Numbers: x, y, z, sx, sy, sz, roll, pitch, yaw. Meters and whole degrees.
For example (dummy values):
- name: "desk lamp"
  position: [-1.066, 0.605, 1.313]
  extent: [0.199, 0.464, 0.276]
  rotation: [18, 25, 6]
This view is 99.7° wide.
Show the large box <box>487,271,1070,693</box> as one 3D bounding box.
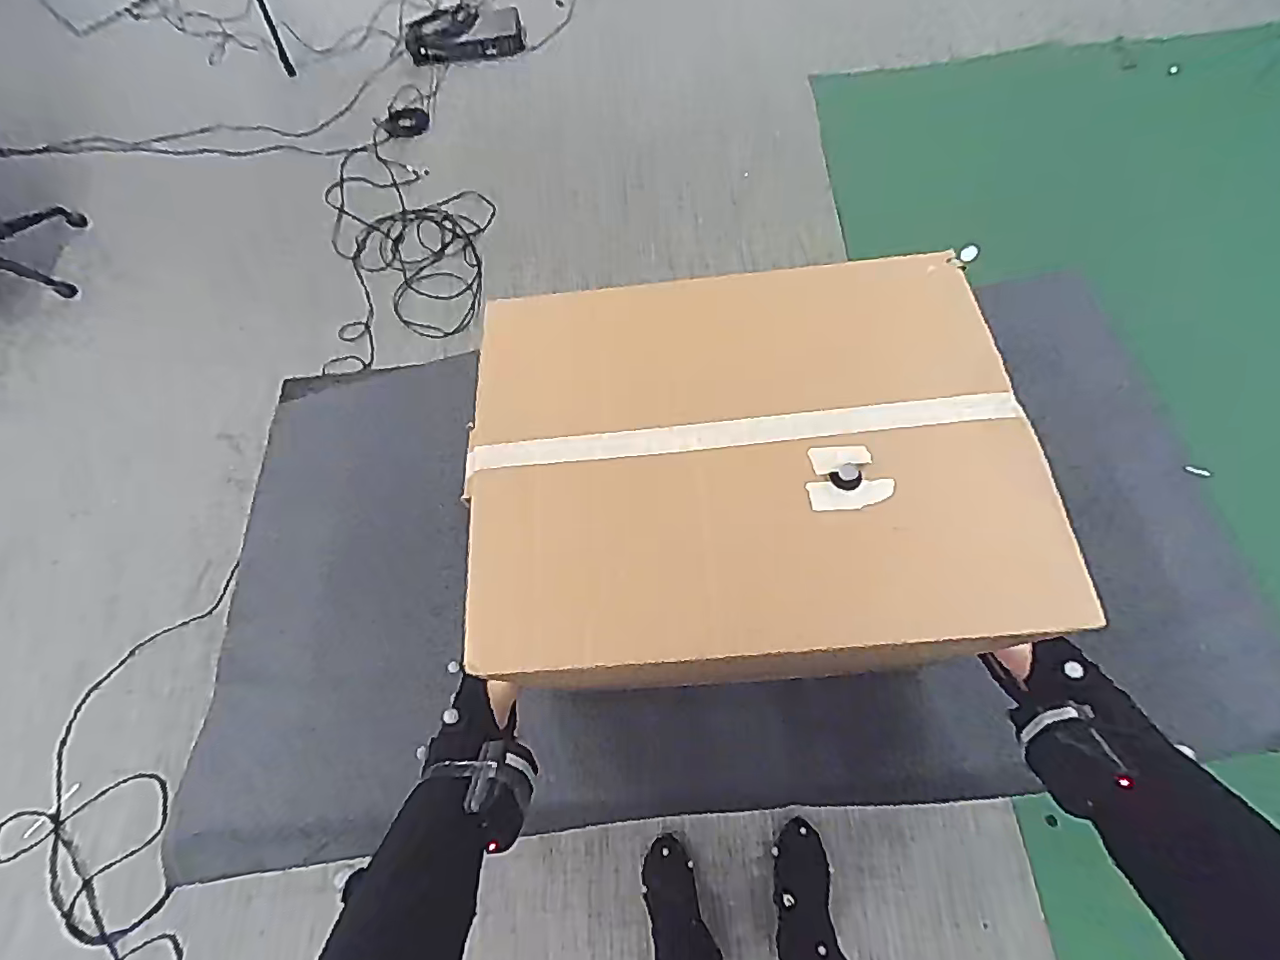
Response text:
- name: "large box"
  position: [0.088, 0.033, 0.559]
  extent: [0.408, 0.320, 0.320]
  rotation: [-5, 67, 2]
